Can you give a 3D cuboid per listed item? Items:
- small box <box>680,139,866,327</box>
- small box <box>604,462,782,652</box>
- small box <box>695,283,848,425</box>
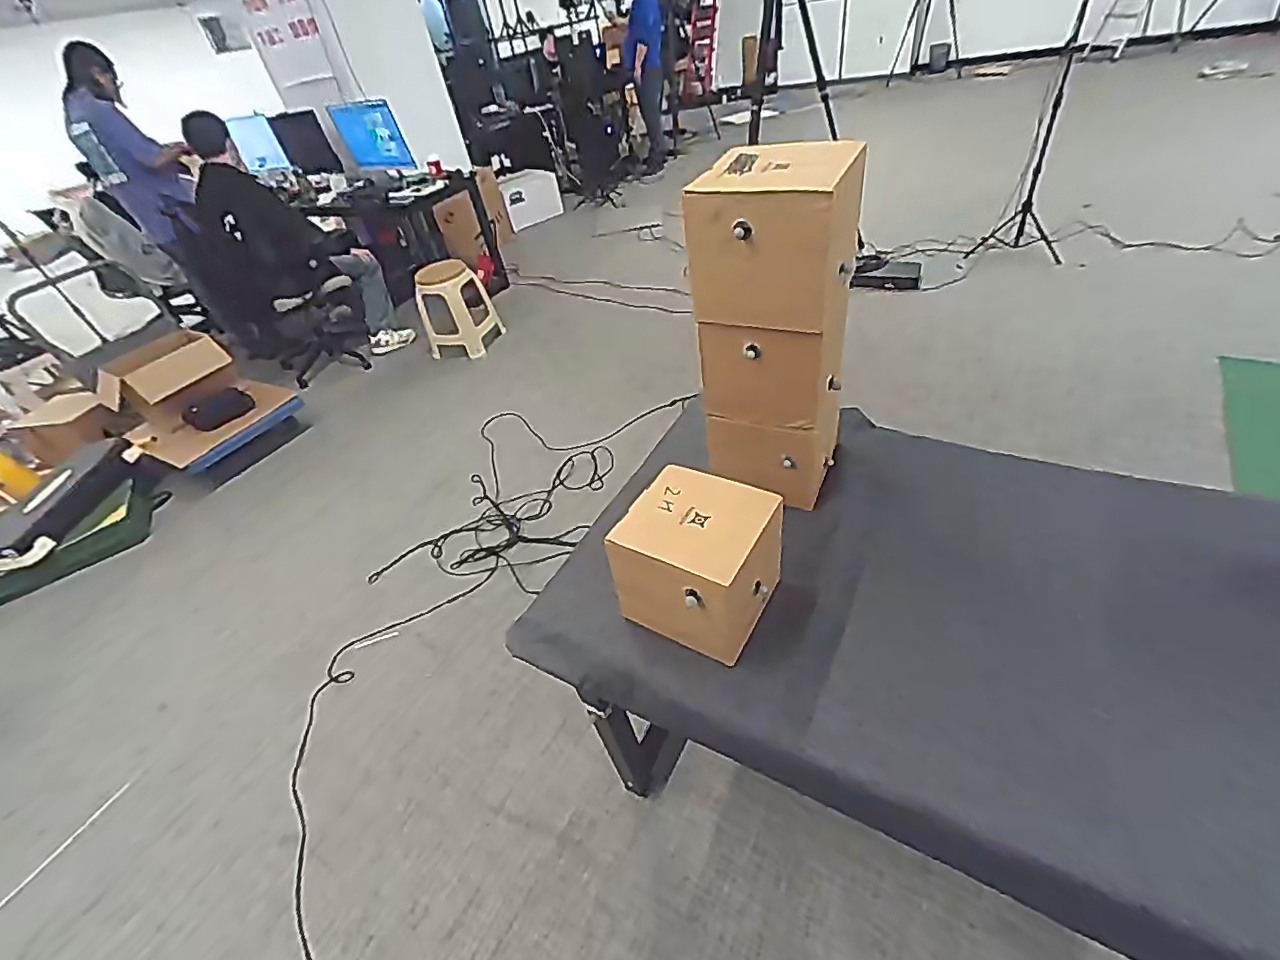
[{"bbox_3d":[0.170,-0.312,0.690,0.179,0.176,0.168,15,51,26],"label":"small box"},{"bbox_3d":[0.079,0.106,0.739,0.179,0.176,0.168,17,47,29],"label":"small box"},{"bbox_3d":[0.198,-0.202,0.808,0.179,0.176,0.168,13,50,24],"label":"small box"}]
